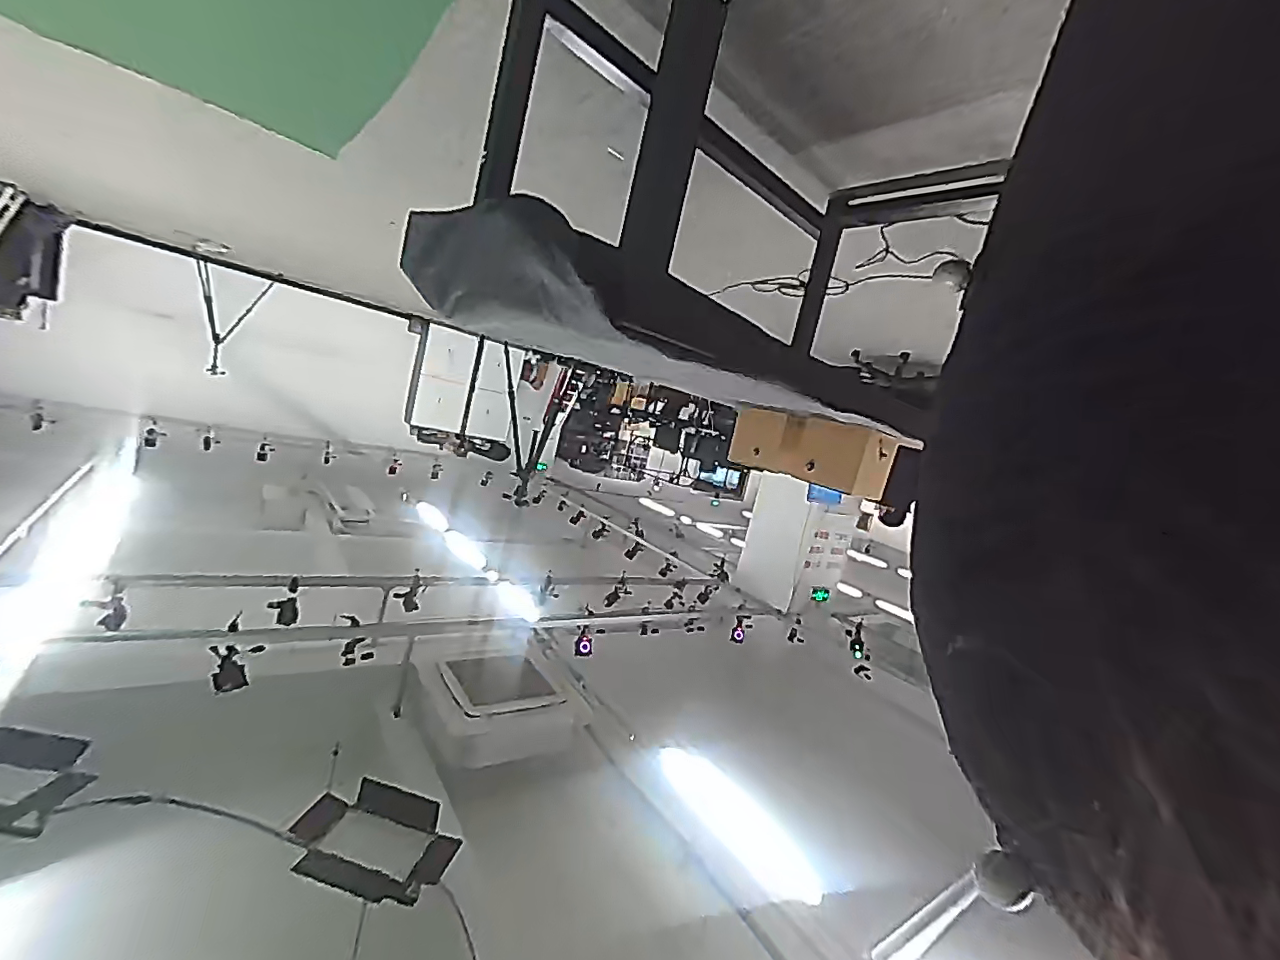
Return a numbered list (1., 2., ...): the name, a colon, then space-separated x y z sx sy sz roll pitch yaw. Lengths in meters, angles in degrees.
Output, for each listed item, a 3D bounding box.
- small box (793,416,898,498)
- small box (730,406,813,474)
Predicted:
1. small box: 0.533 -0.064 1.400 0.168 0.176 0.179 7 -170 -42
2. small box: 0.394 -0.118 1.583 0.168 0.176 0.179 8 -172 -41
